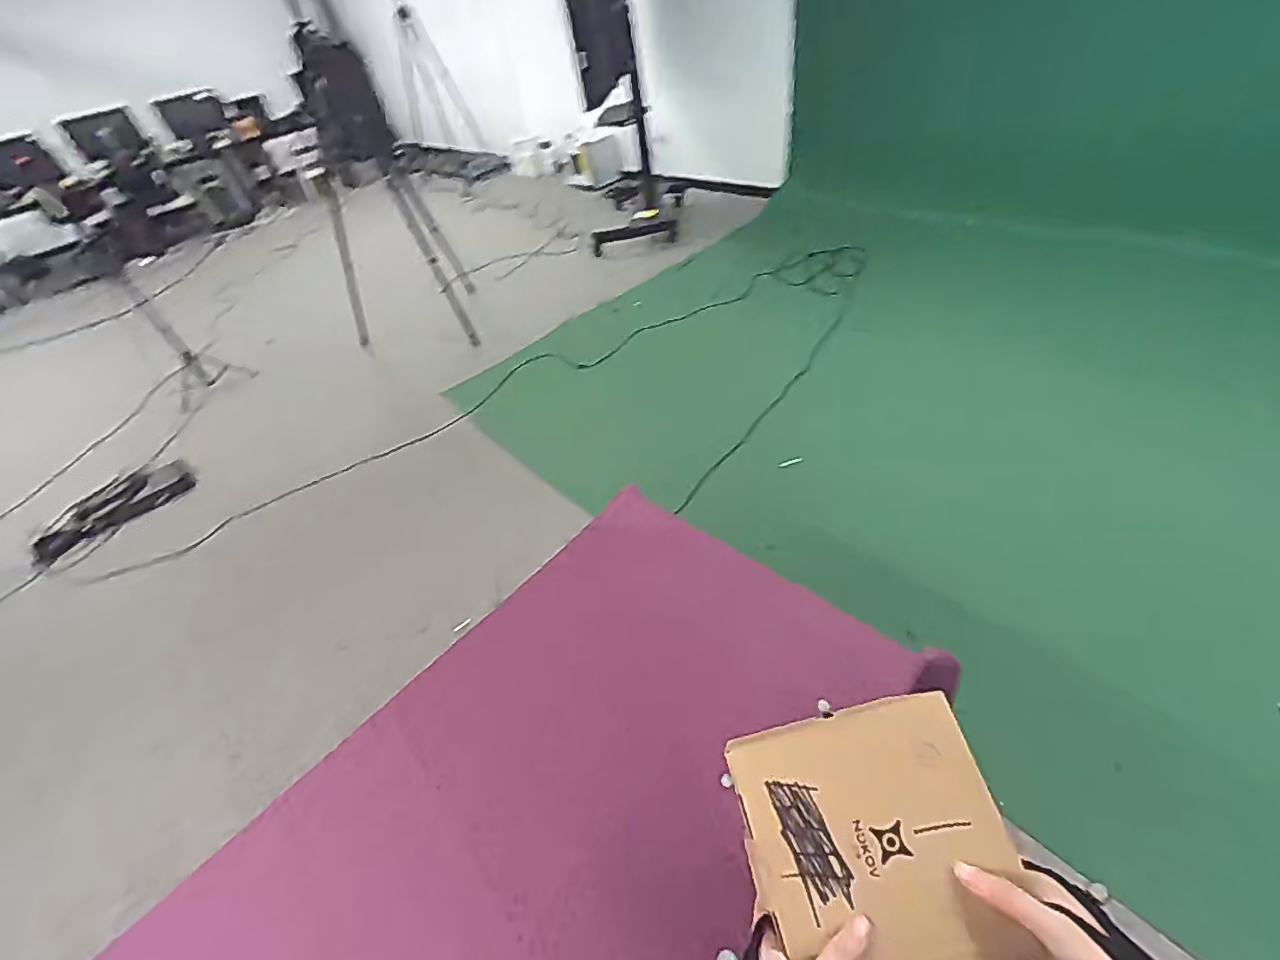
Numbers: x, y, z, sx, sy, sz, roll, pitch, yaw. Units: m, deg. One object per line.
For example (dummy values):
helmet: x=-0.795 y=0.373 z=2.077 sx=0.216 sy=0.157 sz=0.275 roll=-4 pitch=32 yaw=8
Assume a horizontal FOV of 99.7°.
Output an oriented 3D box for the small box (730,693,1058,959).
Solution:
small box: x=0.183 y=0.288 z=0.456 sx=0.179 sy=0.176 sz=0.168 roll=-15 pitch=65 yaw=3
